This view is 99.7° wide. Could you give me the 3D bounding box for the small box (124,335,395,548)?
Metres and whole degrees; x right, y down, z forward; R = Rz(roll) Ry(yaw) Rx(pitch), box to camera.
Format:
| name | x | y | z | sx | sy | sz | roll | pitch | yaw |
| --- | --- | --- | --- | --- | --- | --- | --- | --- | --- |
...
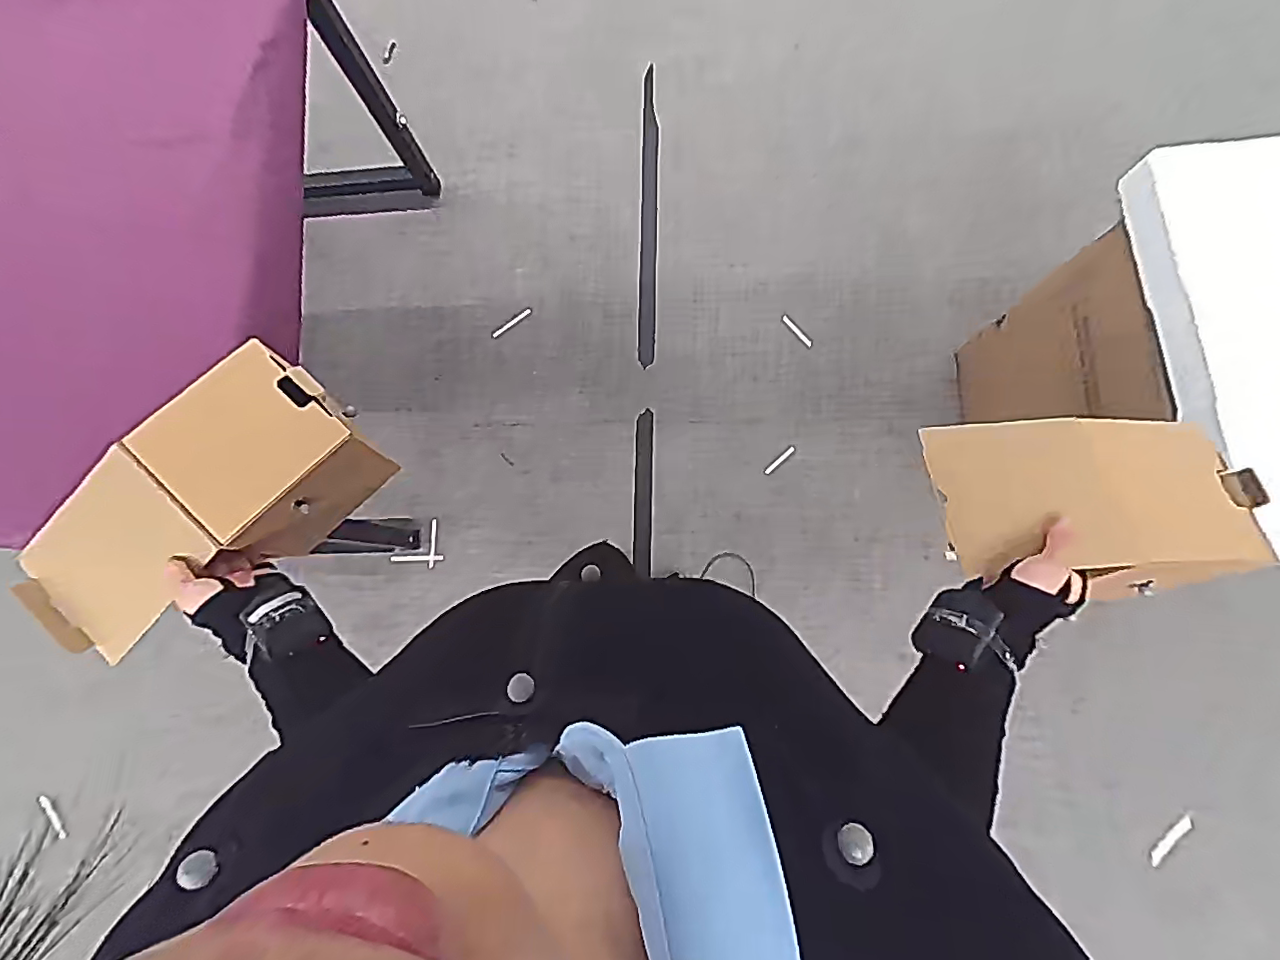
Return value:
| name | x | y | z | sx | sy | sz | roll | pitch | yaw |
| --- | --- | --- | --- | --- | --- | --- | --- | --- | --- |
| small box | -0.443 | -0.034 | 0.665 | 0.168 | 0.176 | 0.179 | 42 | 77 | 5 |
